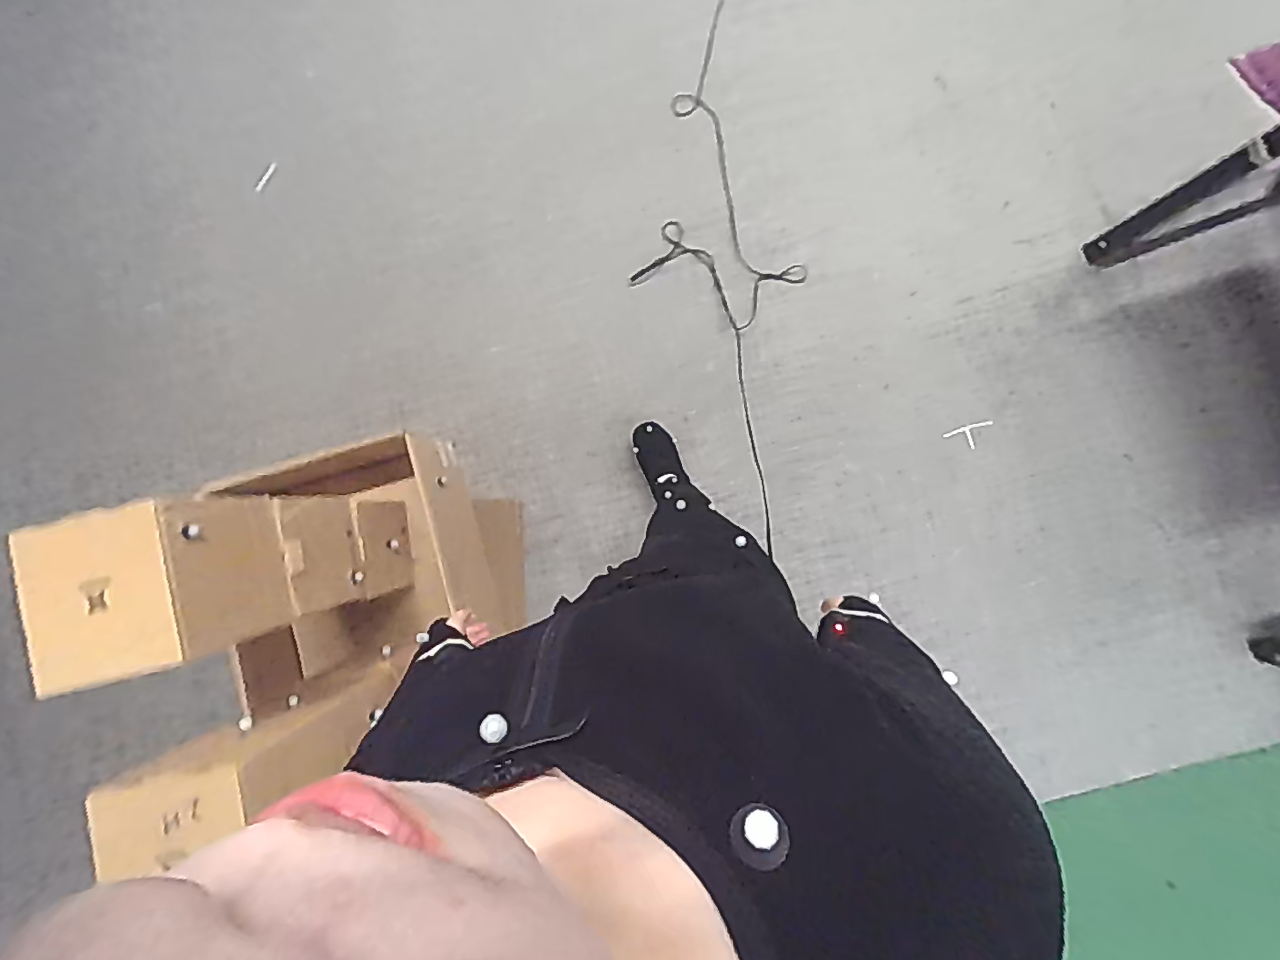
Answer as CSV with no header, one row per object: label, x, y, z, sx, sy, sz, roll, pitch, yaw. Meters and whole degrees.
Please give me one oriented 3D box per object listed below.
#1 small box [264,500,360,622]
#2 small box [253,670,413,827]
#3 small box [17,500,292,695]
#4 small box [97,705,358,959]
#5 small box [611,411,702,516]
small box,-0.546,0.125,0.805,0.179,0.176,0.168,-13,88,3
small box,-0.457,0.398,0.793,0.179,0.176,0.168,-15,87,3
small box,-0.554,0.125,0.642,0.168,0.176,0.179,-14,87,2
small box,-0.457,0.391,0.628,0.168,0.176,0.179,-12,87,2
small box,0.048,-0.040,1.391,0.168,0.176,0.179,23,61,23
